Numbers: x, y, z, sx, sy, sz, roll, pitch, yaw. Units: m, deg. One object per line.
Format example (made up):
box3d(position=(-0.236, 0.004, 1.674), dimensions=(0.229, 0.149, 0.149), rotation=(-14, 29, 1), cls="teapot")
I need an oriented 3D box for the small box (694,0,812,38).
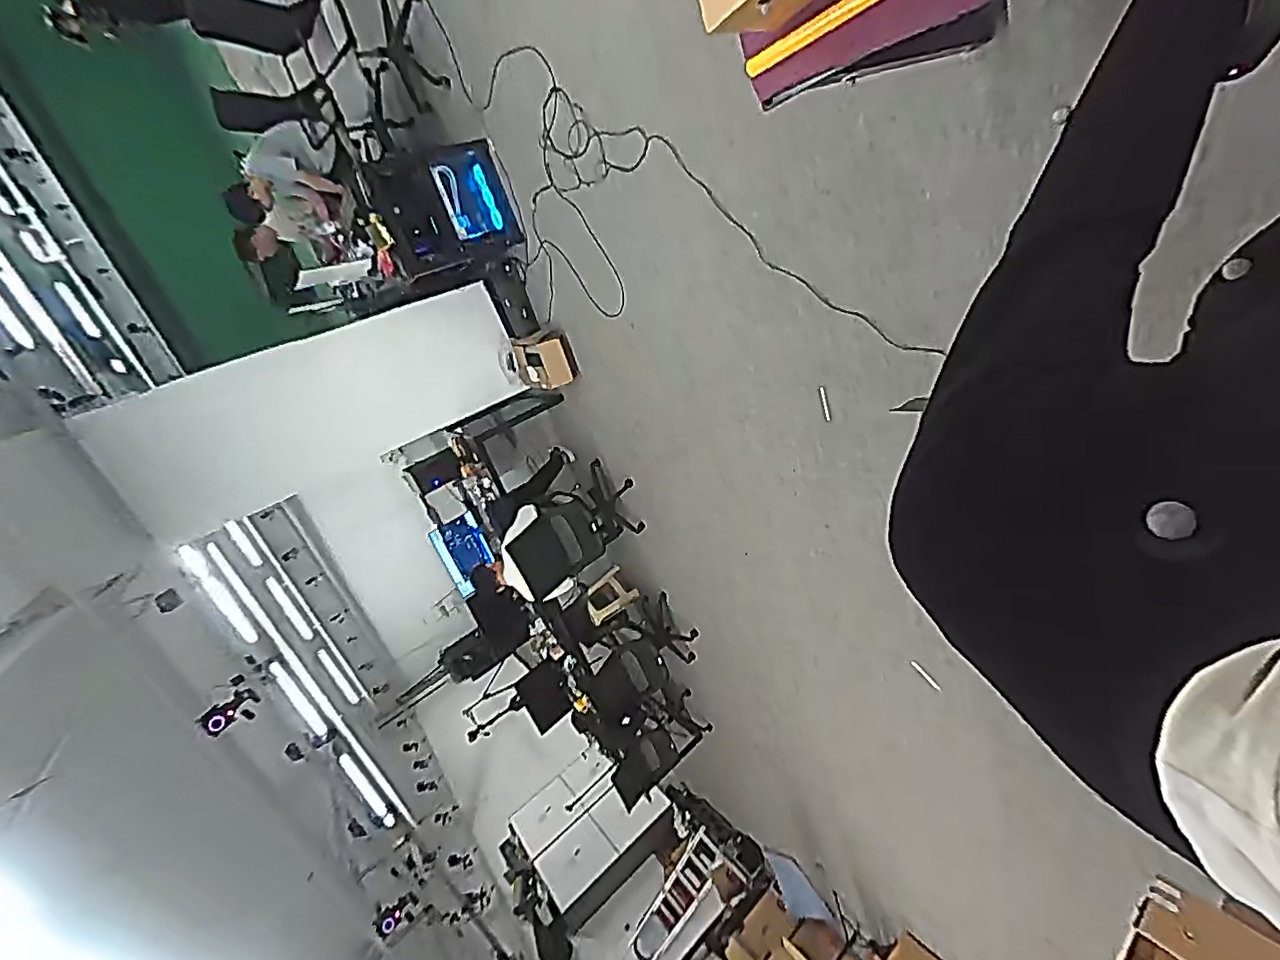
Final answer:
box3d(position=(0.176, -0.747, 0.731), dimensions=(0.179, 0.176, 0.168), rotation=(9, 126, 55), cls="small box")
